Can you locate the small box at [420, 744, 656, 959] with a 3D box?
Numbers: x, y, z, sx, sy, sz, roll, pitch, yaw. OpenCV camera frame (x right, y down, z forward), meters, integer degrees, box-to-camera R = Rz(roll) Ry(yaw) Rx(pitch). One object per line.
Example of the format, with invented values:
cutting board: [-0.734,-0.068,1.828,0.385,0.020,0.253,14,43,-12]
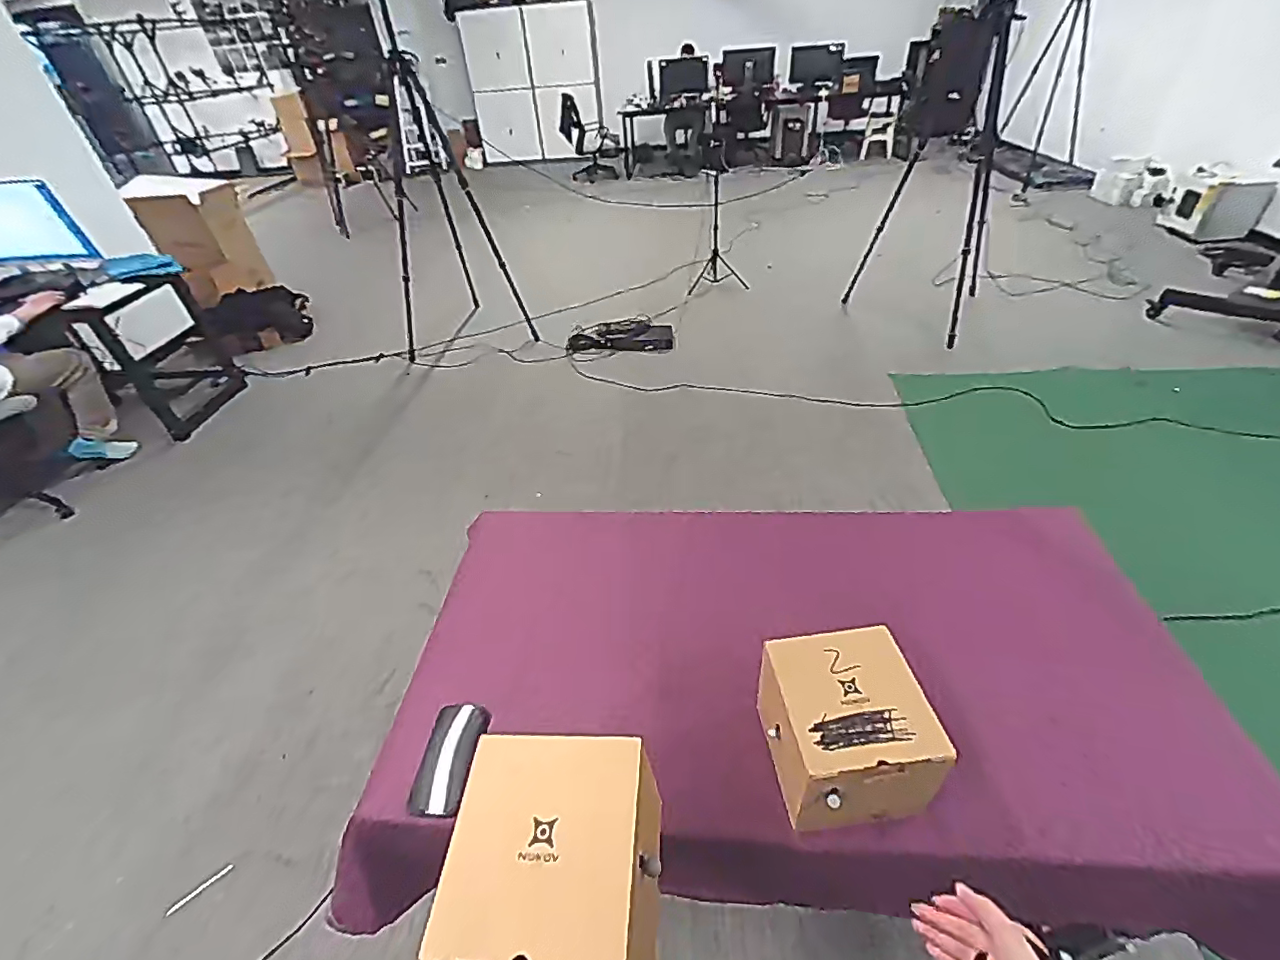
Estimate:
small box: [-0.076,0.380,0.522,0.168,0.176,0.179,-3,42,8]
